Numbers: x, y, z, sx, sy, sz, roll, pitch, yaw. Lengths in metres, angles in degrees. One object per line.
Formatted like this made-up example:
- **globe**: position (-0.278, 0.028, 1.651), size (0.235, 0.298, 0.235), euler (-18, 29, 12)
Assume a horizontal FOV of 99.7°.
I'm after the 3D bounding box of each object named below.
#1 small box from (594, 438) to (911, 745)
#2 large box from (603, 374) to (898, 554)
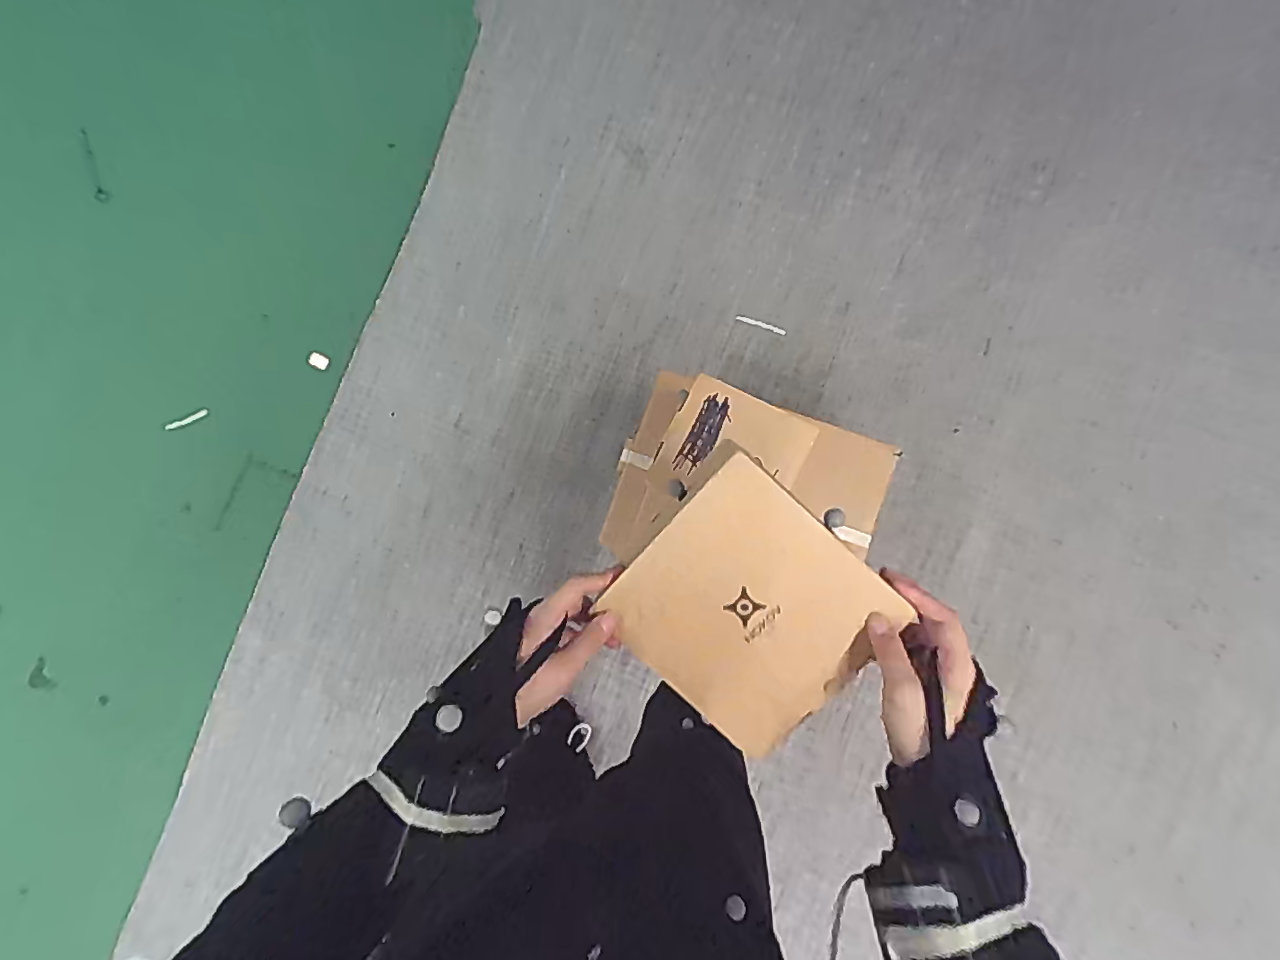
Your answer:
- **small box**: position (0.085, 0.079, 0.478), size (0.179, 0.176, 0.168), euler (41, 98, -1)
- **large box**: position (0.184, 0.038, 1.011), size (0.408, 0.320, 0.320), euler (20, 89, 7)
